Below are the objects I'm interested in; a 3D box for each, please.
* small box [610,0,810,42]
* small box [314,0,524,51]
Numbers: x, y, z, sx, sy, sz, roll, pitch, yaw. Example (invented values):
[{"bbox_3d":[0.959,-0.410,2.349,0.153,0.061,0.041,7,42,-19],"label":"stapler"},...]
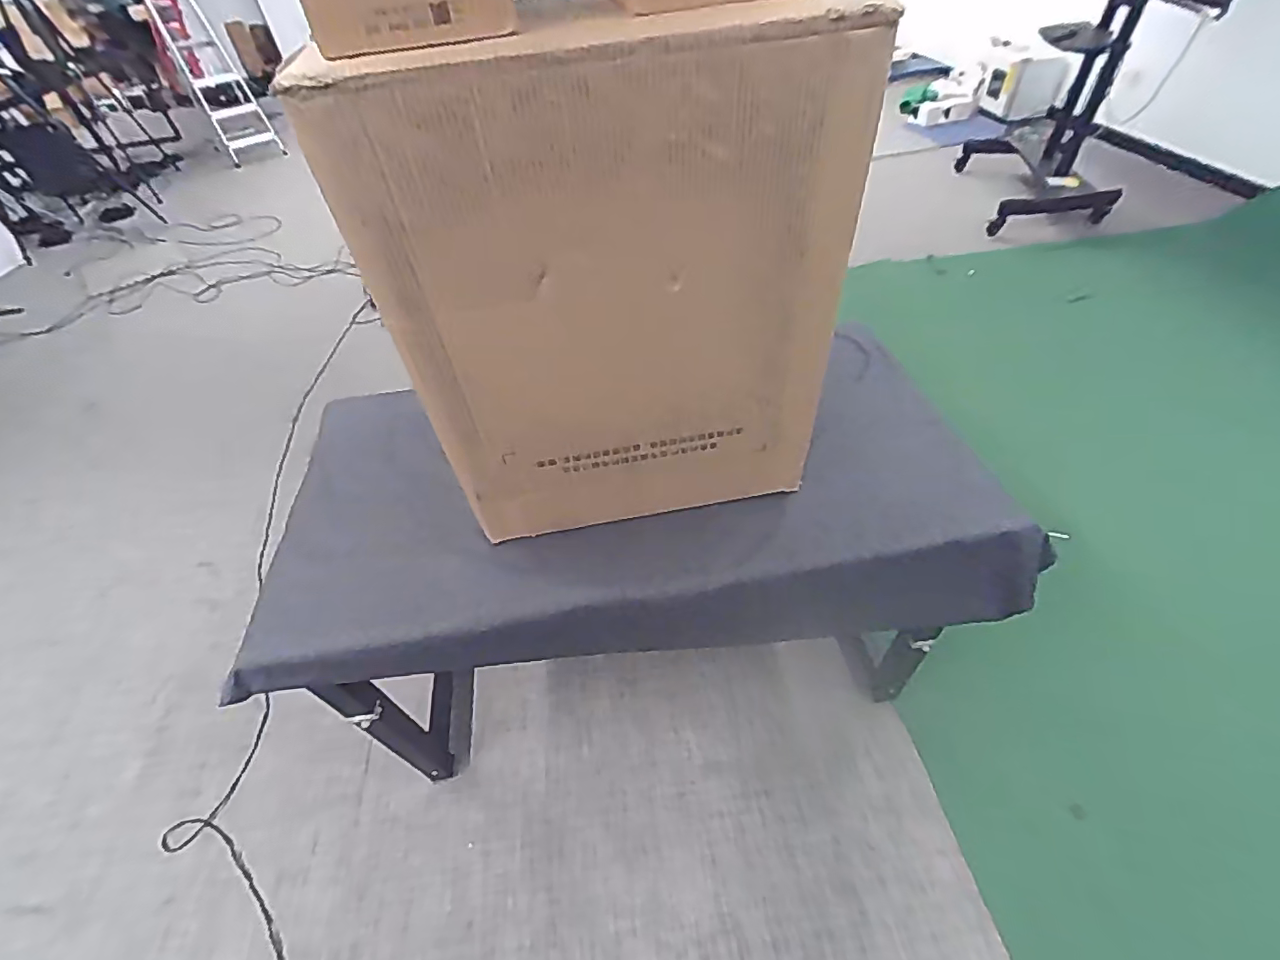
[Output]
[{"bbox_3d":[0.063,-0.520,0.481,0.179,0.176,0.168,-12,50,-5],"label":"small box"},{"bbox_3d":[-0.198,-0.479,0.447,0.168,0.176,0.179,-11,51,-5],"label":"small box"}]
